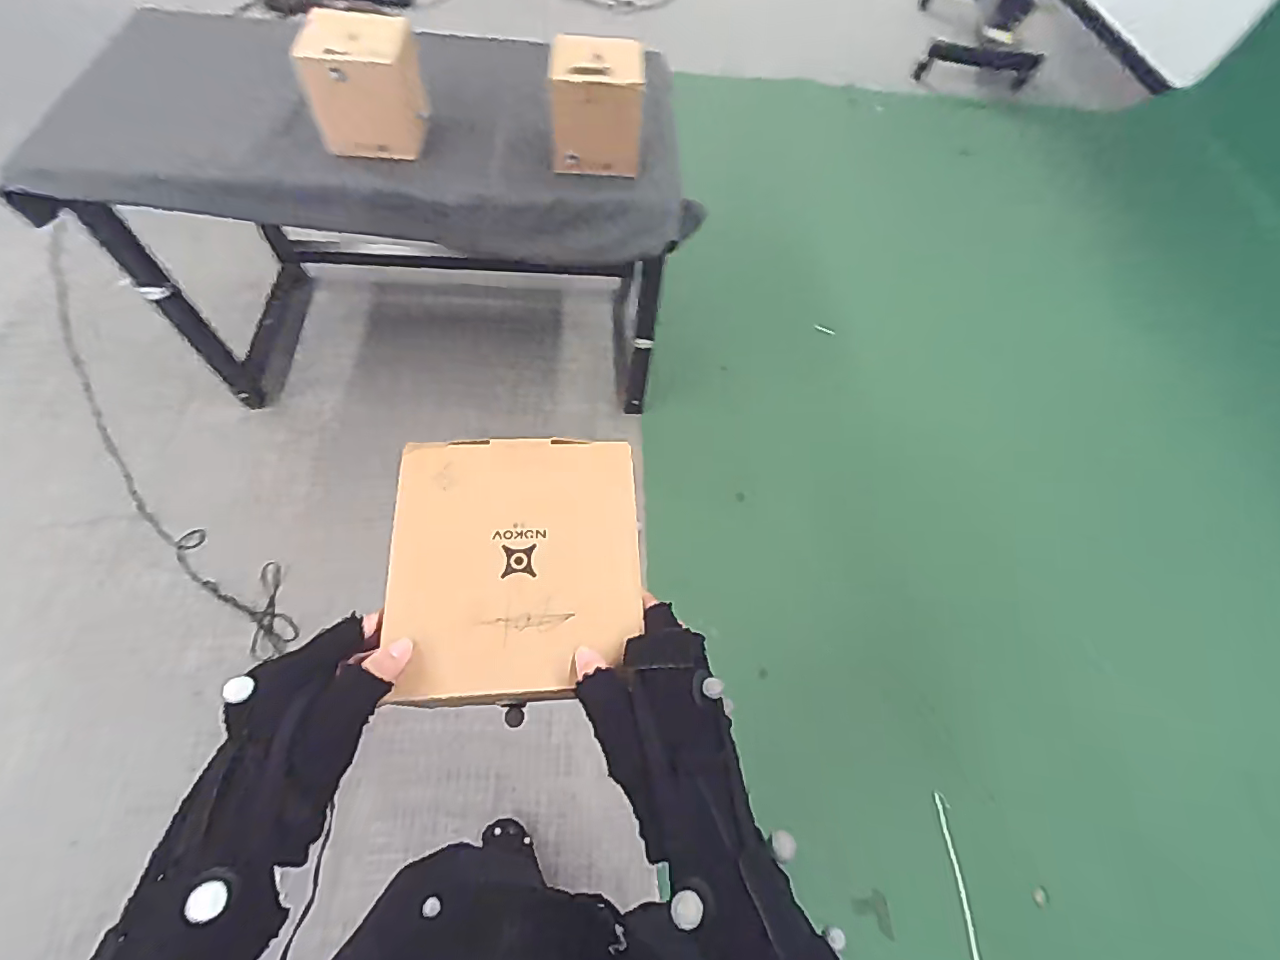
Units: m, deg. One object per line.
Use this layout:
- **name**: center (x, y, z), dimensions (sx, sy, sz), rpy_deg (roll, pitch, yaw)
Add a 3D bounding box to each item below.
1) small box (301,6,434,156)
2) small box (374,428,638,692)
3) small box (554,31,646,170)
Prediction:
- **small box**: center (-0.501, -0.752, 1.026), dimensions (0.168, 0.176, 0.179), rpy_deg (0, 60, -5)
- **small box**: center (-0.098, 0.073, 0.443), dimensions (0.168, 0.176, 0.179), rpy_deg (-2, 68, -8)
- **small box**: center (-0.075, -0.735, 1.058), dimensions (0.168, 0.176, 0.179), rpy_deg (1, 59, -4)
